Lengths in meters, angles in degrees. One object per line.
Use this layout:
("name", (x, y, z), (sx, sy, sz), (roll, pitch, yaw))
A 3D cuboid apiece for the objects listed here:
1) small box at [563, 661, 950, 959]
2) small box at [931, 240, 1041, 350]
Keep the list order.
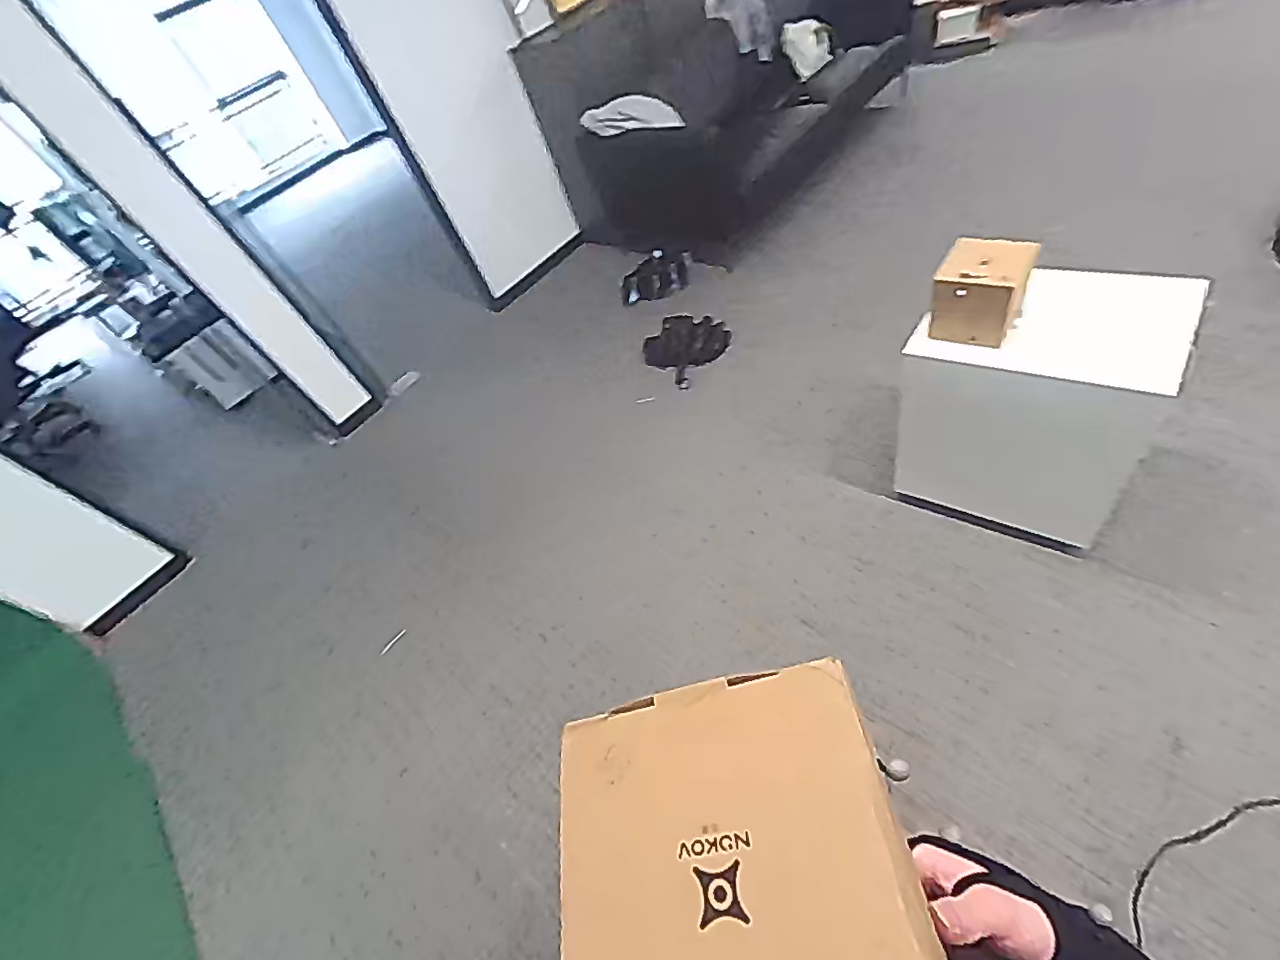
("small box", (0.070, 0.230, 0.305), (0.168, 0.176, 0.179), (-21, 48, 15))
("small box", (0.802, -0.435, 1.269), (0.168, 0.176, 0.179), (23, 61, 36))
